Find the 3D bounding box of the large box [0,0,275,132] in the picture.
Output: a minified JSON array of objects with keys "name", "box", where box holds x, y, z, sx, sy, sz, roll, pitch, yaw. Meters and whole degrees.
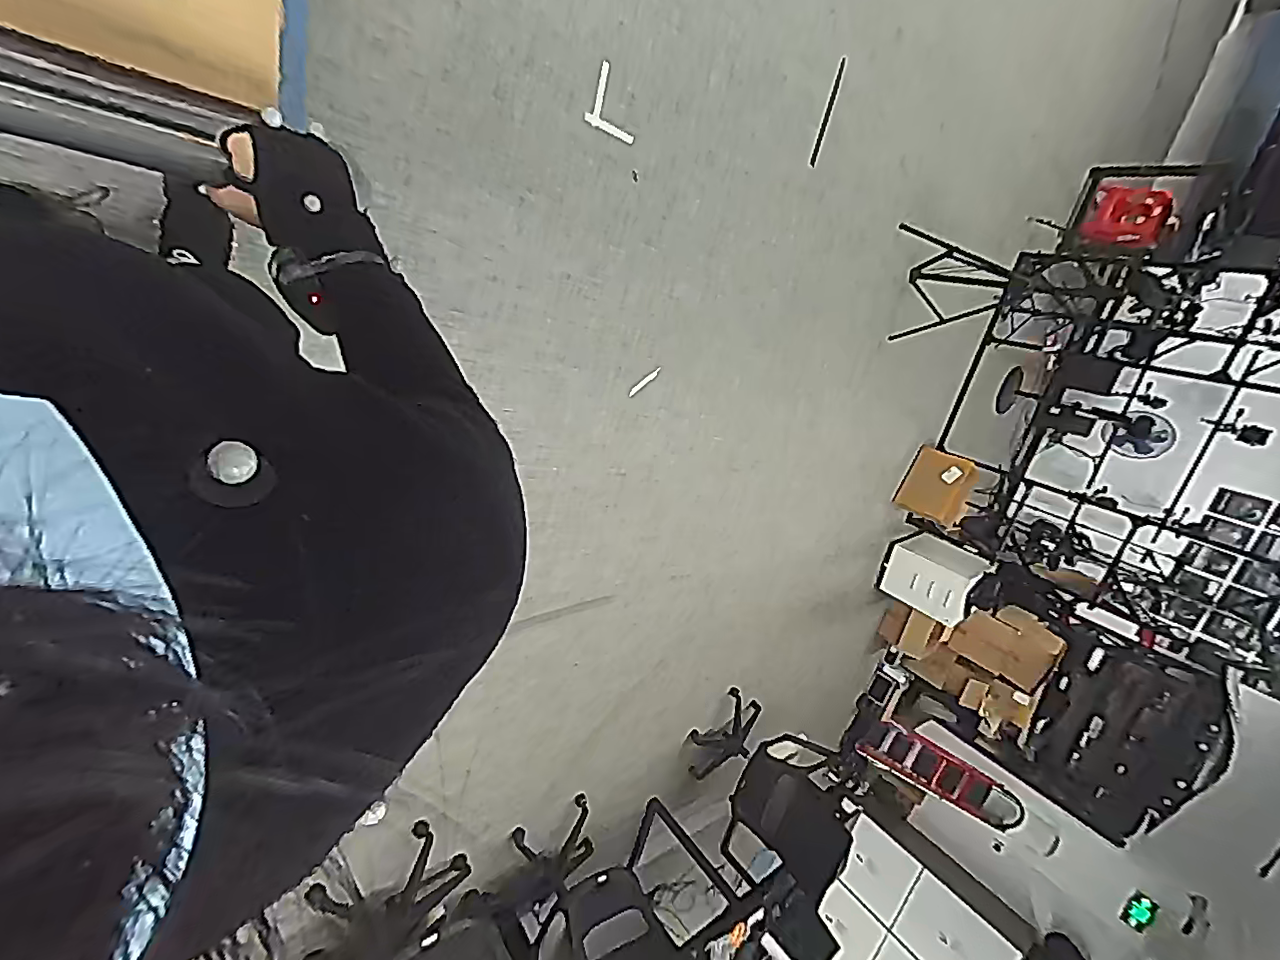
[{"name":"large box","box":[-0.717,-0.681,0.667,0.408,0.320,0.320,-4,115,-42]}]
